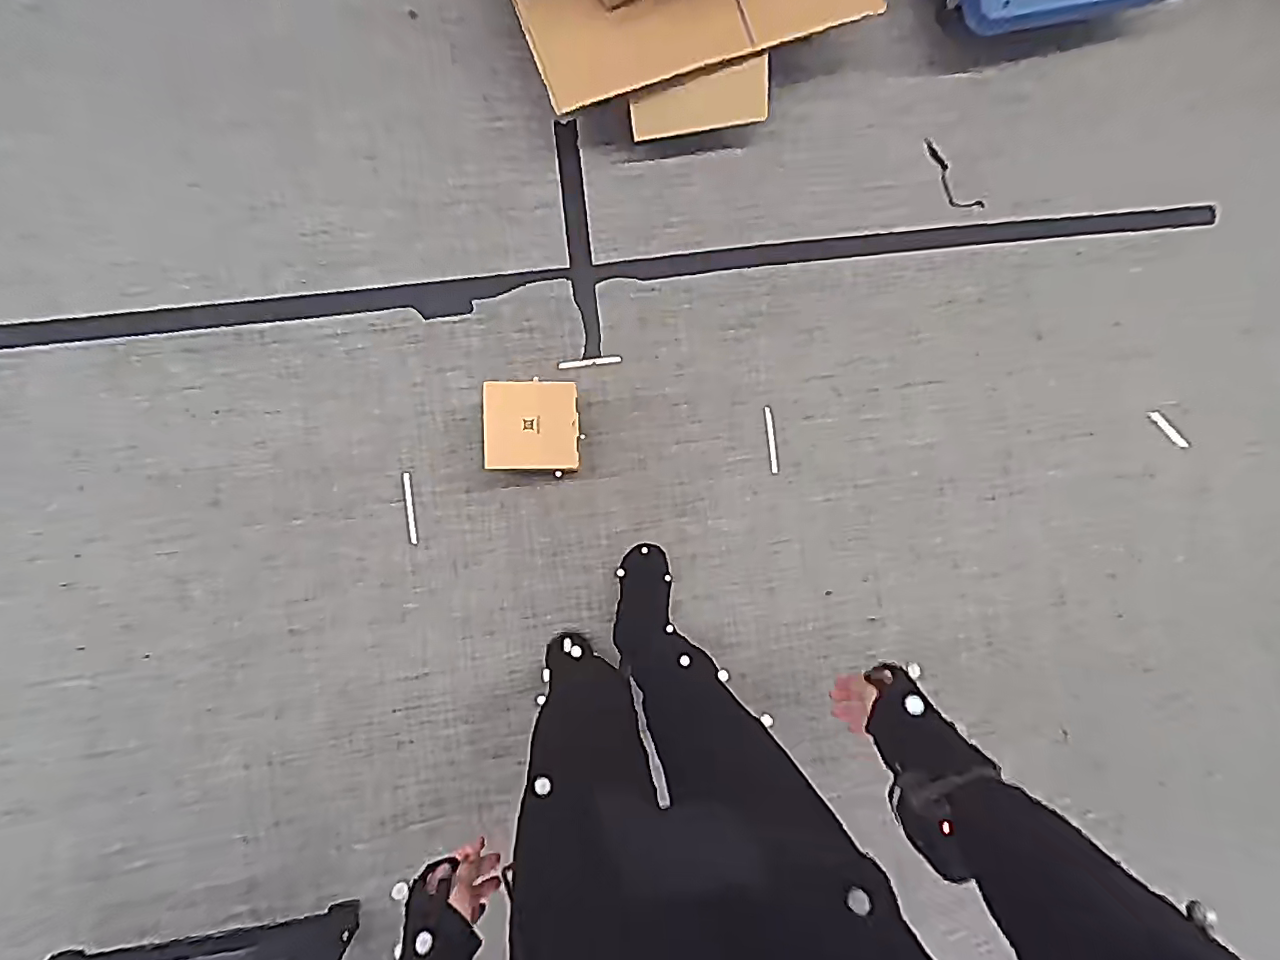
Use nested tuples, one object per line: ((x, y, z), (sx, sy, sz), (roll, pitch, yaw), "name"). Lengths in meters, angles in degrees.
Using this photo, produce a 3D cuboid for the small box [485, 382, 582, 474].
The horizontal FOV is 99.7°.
((-0.205, -0.098, 1.081), (0.179, 0.176, 0.168), (-1, 89, -7), "small box")
